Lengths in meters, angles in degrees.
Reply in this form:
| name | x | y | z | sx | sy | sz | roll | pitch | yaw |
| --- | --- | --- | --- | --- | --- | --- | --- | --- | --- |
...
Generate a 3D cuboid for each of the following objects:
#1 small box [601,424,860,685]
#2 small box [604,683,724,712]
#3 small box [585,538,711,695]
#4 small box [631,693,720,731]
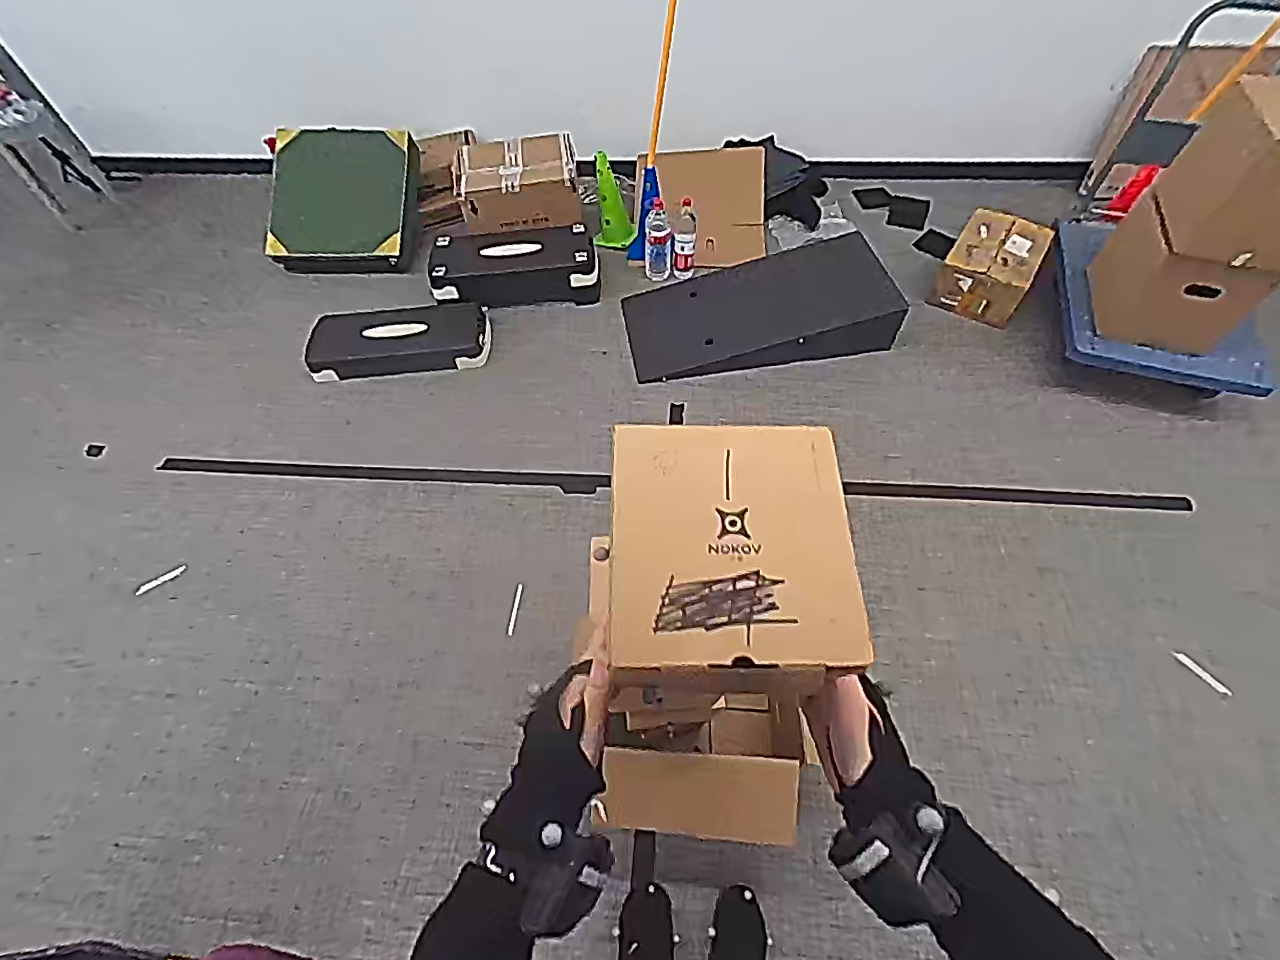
| name | x | y | z | sx | sy | sz | roll | pitch | yaw |
| --- | --- | --- | --- | --- | --- | --- | --- | --- | --- |
| small box | 0.057 | 0.071 | 0.444 | 0.168 | 0.176 | 0.179 | 1 | 65 | -2 |
| small box | 0.031 | 0.274 | 0.873 | 0.179 | 0.176 | 0.168 | -1 | 60 | -2 |
| small box | 0.016 | 0.191 | 0.733 | 0.168 | 0.176 | 0.179 | 0 | 59 | -2 |
| small box | 0.055 | 0.426 | 1.166 | 0.179 | 0.176 | 0.168 | -13 | 60 | -10 |
